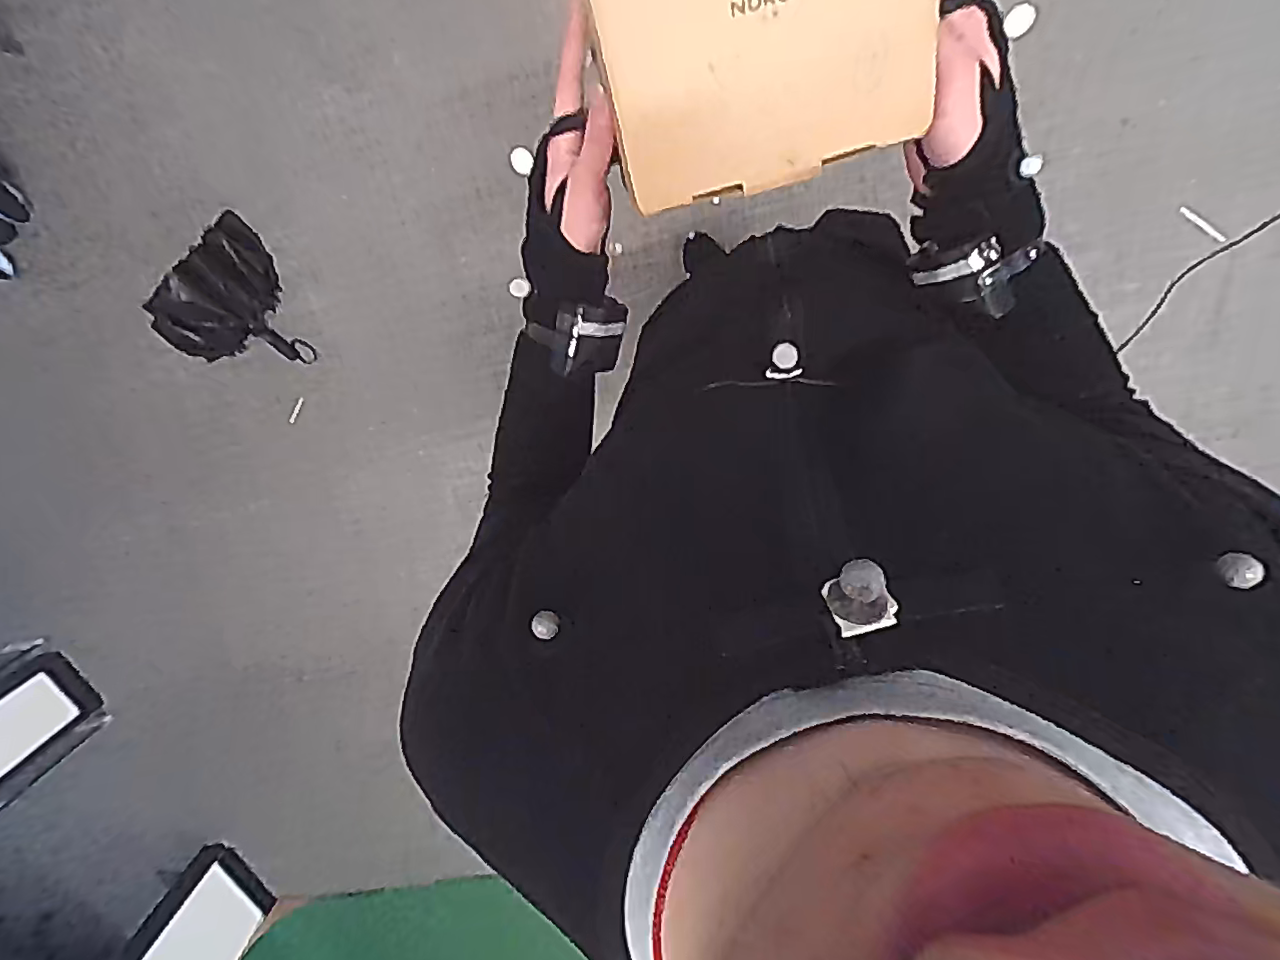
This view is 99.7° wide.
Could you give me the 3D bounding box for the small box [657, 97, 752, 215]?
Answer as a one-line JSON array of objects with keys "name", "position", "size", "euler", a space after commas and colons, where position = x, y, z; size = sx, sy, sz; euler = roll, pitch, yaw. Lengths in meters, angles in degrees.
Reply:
[{"name": "small box", "position": [0.144, -0.721, 1.225], "size": [0.168, 0.176, 0.179], "euler": [-17, 112, 13]}]
